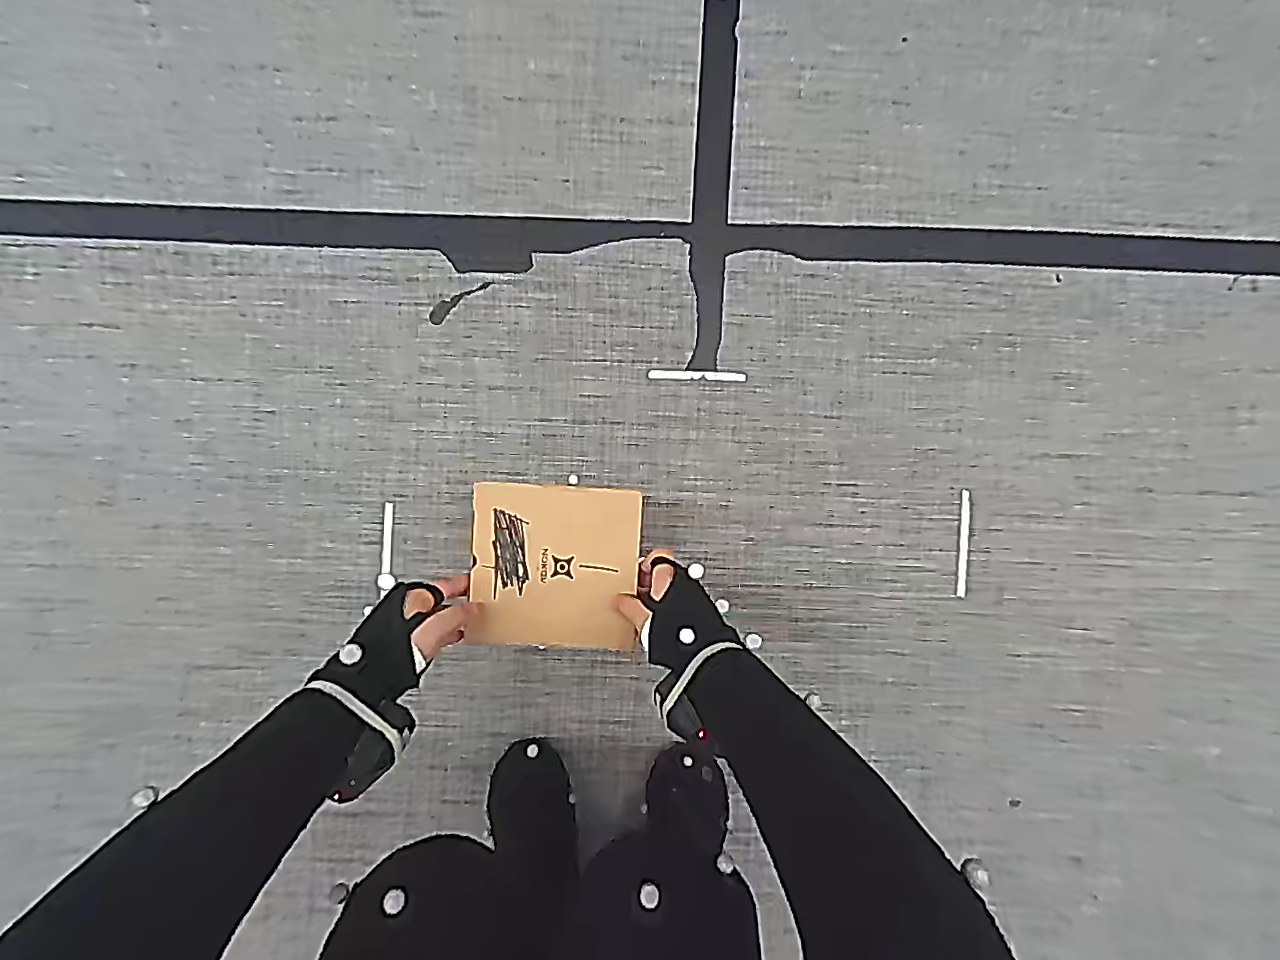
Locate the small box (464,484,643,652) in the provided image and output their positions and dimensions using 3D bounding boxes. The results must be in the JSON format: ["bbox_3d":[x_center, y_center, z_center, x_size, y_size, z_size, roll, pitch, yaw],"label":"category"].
[{"bbox_3d":[-0.090,0.095,0.636,0.179,0.176,0.168,3,88,-2],"label":"small box"}]
